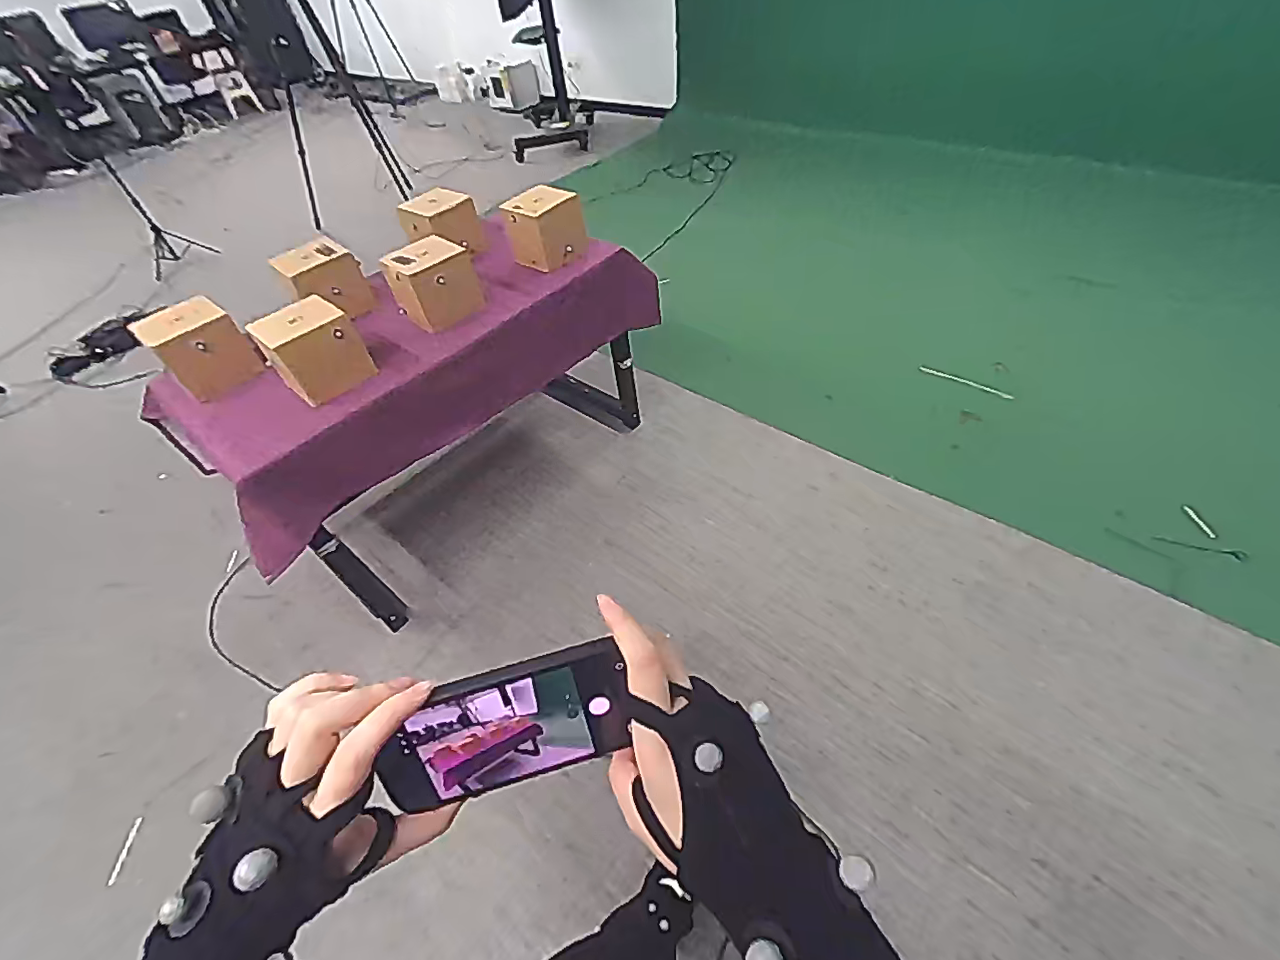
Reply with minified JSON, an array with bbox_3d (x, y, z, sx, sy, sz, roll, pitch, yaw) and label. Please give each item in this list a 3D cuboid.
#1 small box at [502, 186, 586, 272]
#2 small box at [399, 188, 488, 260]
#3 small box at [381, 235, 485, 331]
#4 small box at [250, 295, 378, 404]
[{"bbox_3d":[-0.280,-0.755,1.625,0.168,0.176,0.179,29,57,30],"label":"small box"},{"bbox_3d":[-0.615,-0.792,1.703,0.179,0.176,0.168,28,58,28],"label":"small box"},{"bbox_3d":[-0.551,-0.528,1.458,0.168,0.176,0.179,33,59,31],"label":"small box"},{"bbox_3d":[-0.770,-0.309,1.290,0.168,0.176,0.179,31,58,31],"label":"small box"}]
